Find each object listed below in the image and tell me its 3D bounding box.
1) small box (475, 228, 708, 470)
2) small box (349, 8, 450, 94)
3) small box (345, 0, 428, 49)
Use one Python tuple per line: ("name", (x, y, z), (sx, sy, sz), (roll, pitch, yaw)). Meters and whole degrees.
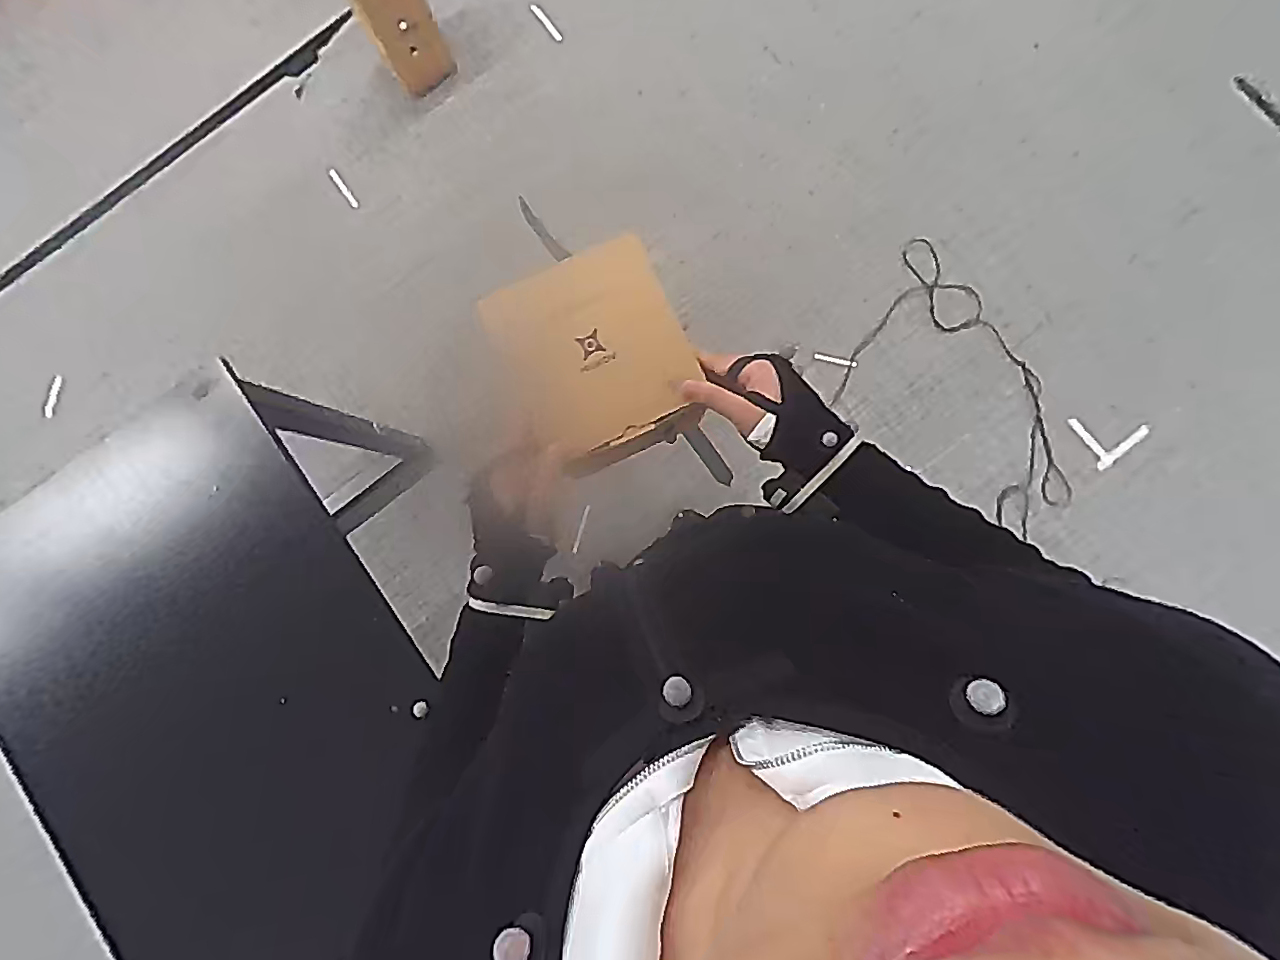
("small box", (-0.042, -0.119, 0.573), (0.168, 0.176, 0.179), (-25, 86, 0))
("small box", (-0.692, -1.285, 1.574), (0.179, 0.176, 0.168), (-36, 86, -1))
("small box", (-0.693, -1.294, 1.409), (0.168, 0.176, 0.179), (-36, 86, 0))
